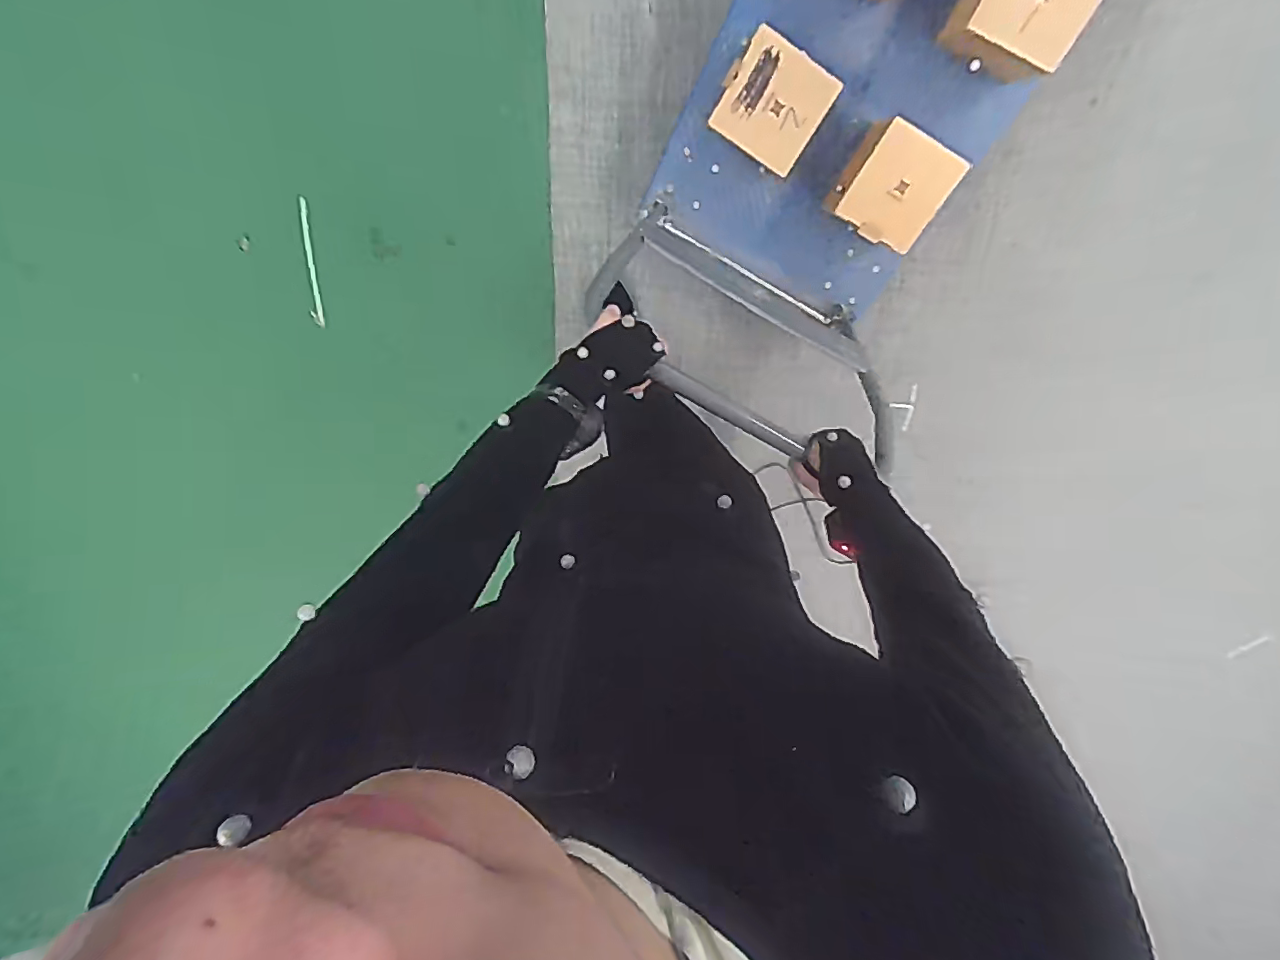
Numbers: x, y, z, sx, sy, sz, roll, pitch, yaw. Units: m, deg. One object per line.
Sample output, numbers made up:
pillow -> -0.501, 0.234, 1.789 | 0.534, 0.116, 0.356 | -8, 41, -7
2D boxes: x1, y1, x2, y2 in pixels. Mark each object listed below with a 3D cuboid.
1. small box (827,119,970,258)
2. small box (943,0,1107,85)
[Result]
small box -> 0.491, -0.572, 1.060 | 0.168, 0.176, 0.179 | 28, 123, -8
small box -> 0.644, -0.794, 0.895 | 0.168, 0.176, 0.179 | 24, 123, -5
